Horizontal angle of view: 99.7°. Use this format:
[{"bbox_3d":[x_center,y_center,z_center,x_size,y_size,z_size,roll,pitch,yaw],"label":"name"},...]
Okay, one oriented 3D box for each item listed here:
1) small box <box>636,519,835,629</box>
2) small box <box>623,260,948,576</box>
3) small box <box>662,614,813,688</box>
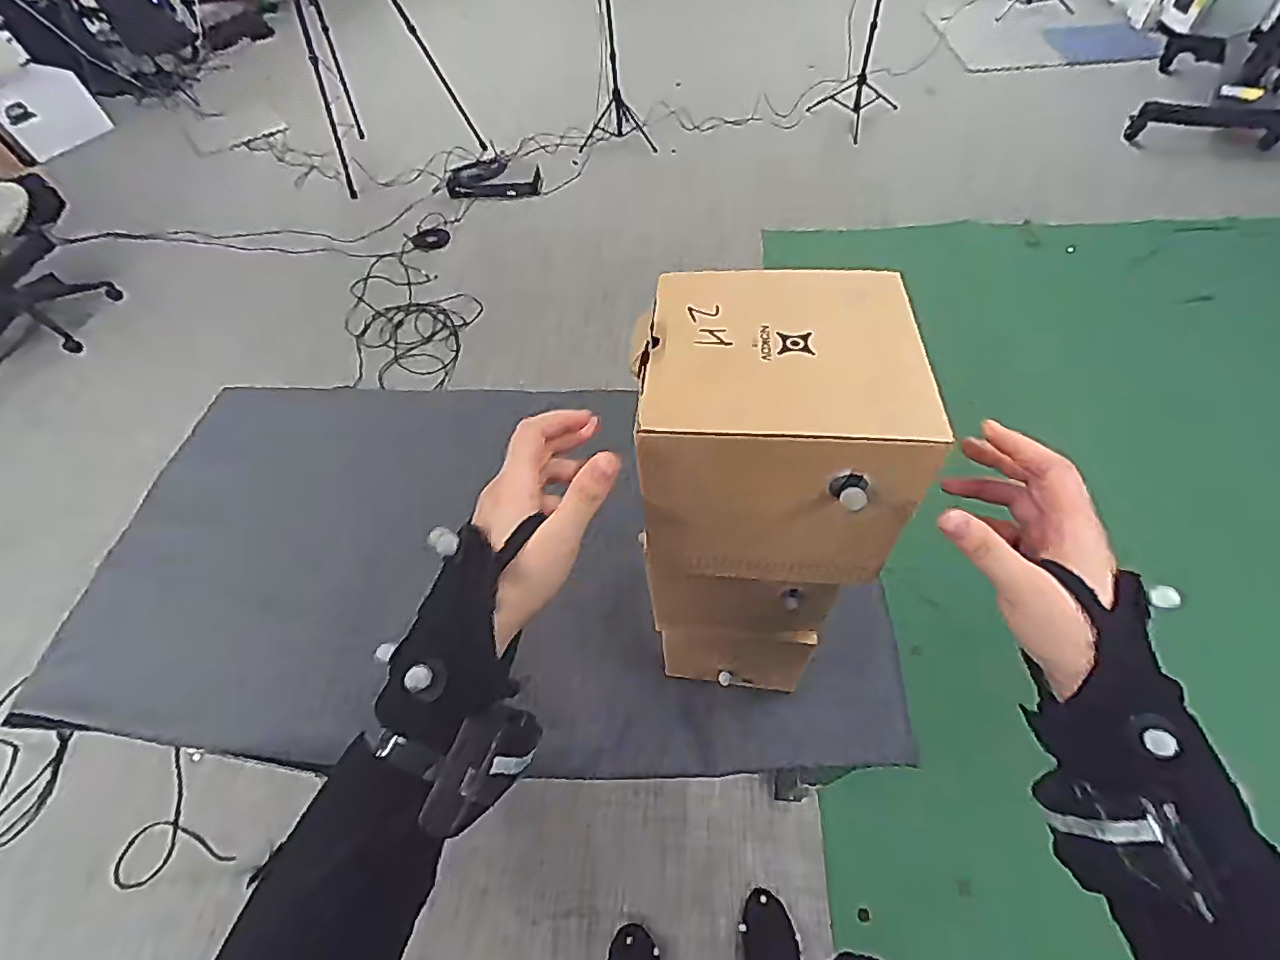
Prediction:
[{"bbox_3d":[0.093,0.041,0.548,0.179,0.176,0.168,-3,51,6],"label":"small box"},{"bbox_3d":[0.092,-0.041,0.402,0.179,0.176,0.168,2,52,8],"label":"small box"},{"bbox_3d":[0.118,0.139,0.676,0.168,0.176,0.179,4,54,10],"label":"small box"}]
